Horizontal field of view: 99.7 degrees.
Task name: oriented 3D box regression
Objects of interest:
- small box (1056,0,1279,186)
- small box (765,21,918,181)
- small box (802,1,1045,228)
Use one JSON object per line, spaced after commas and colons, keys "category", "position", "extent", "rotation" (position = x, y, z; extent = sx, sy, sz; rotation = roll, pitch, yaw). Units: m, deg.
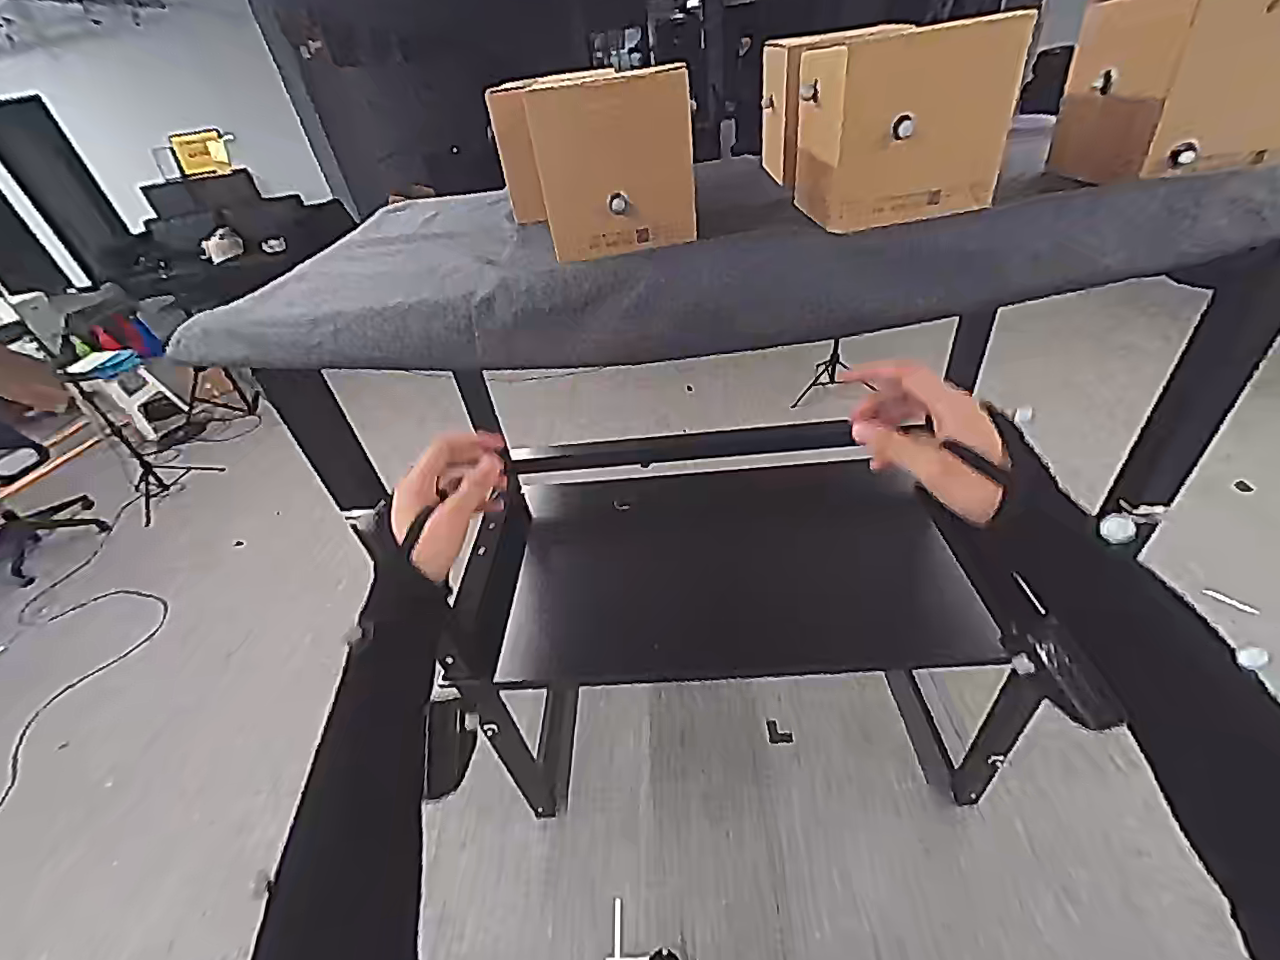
{"category": "small box", "position": [0.576, -0.408, 0.550], "extent": [0.168, 0.176, 0.179], "rotation": [-4, 35, 7]}
{"category": "small box", "position": [0.281, -0.552, 0.797], "extent": [0.168, 0.176, 0.179], "rotation": [-6, 38, 4]}
{"category": "small box", "position": [0.278, -0.380, 0.580], "extent": [0.168, 0.176, 0.179], "rotation": [-6, 36, 4]}
